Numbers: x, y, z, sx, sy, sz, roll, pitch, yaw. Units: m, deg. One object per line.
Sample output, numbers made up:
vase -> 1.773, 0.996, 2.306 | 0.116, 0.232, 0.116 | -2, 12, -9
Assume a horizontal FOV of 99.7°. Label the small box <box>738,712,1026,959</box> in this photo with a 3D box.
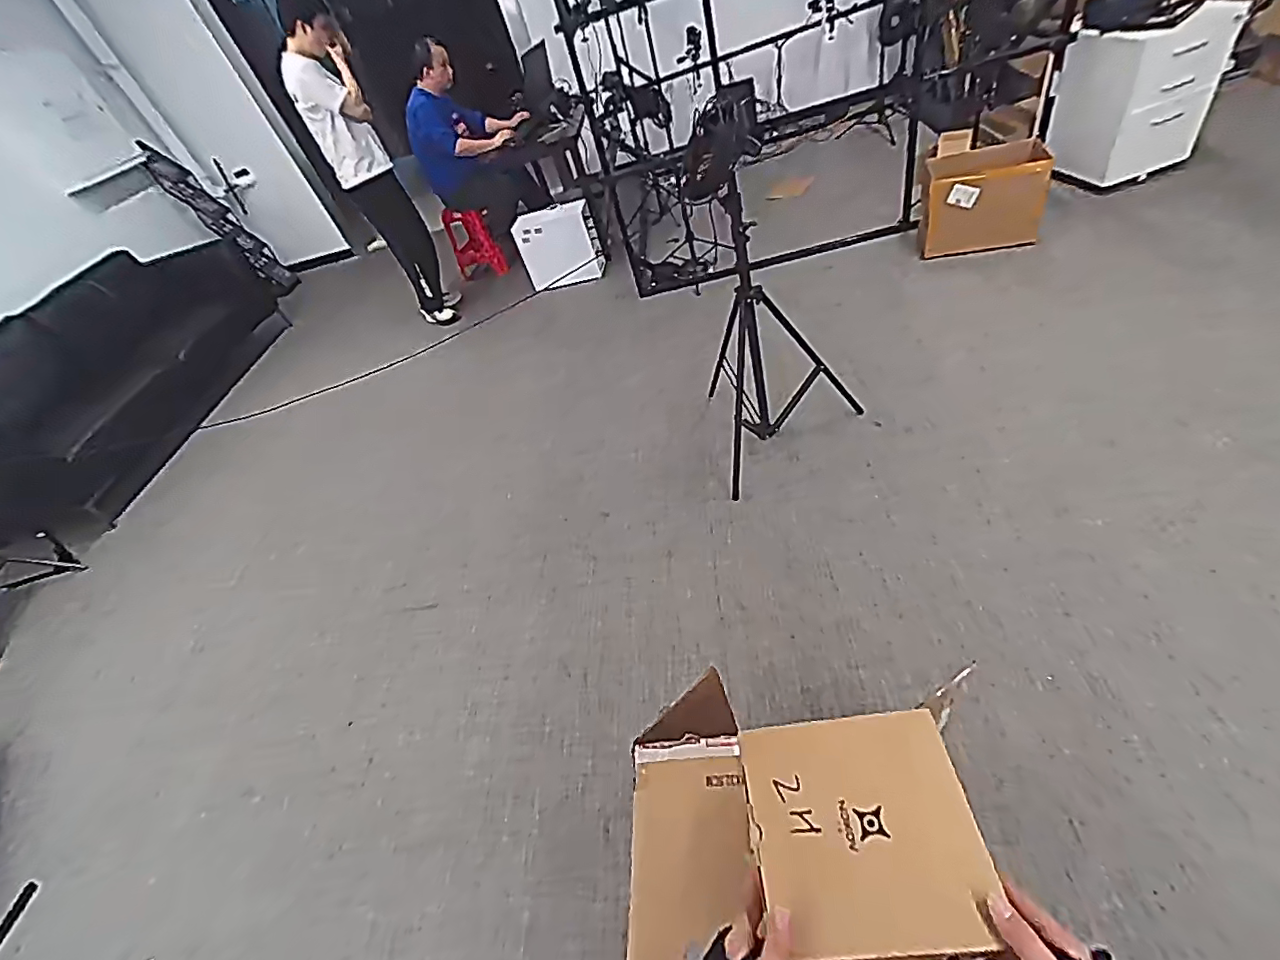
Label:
small box -> 0.192, 0.329, 0.488 | 0.179, 0.176, 0.168 | -10, 45, 7
